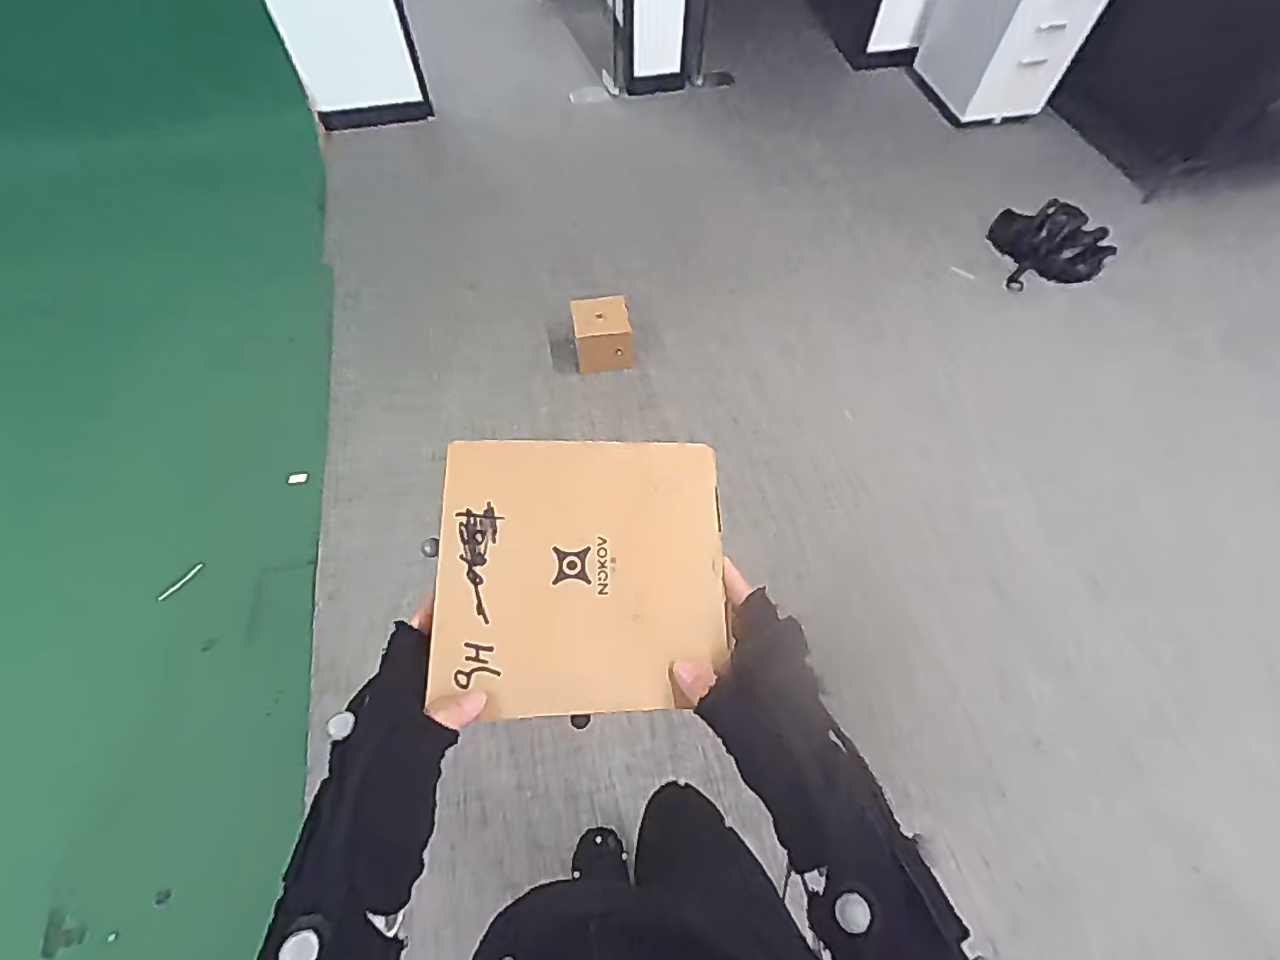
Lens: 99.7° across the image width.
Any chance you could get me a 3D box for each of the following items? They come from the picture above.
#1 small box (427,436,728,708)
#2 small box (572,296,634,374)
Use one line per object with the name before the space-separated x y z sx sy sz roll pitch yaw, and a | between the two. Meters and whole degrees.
small box | -0.045 0.077 0.410 0.179 0.176 0.168 1 70 -8
small box | -0.117 -0.468 1.760 0.179 0.176 0.168 -10 61 -4
